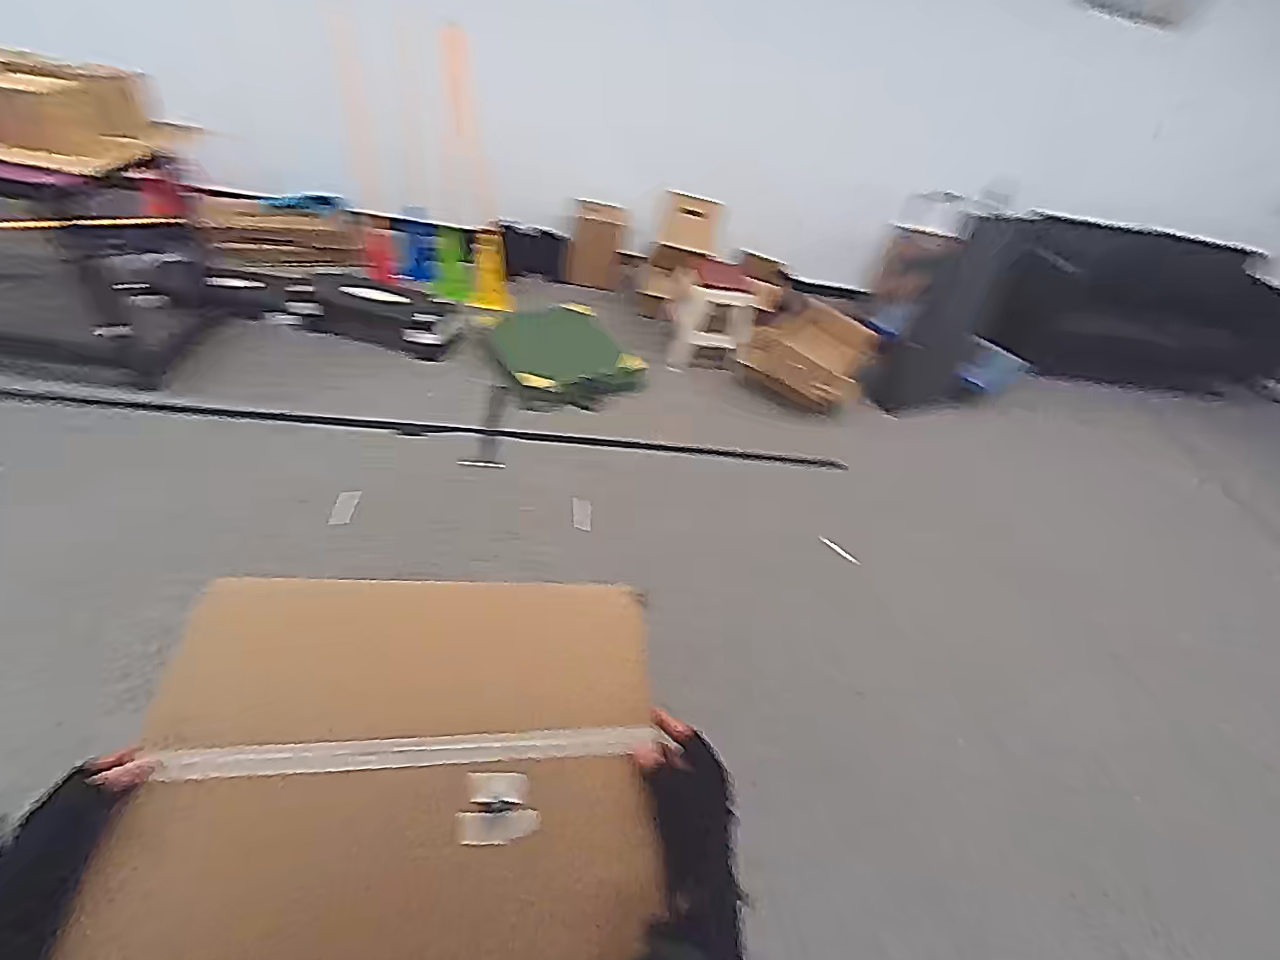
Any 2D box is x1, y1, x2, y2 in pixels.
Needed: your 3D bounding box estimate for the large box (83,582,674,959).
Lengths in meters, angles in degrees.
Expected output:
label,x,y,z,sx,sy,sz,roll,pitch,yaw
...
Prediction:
label,x,y,z,sx,sy,sz,roll,pitch,yaw
large box,-0.214,0.321,0.577,0.408,0.320,0.320,5,52,-14
